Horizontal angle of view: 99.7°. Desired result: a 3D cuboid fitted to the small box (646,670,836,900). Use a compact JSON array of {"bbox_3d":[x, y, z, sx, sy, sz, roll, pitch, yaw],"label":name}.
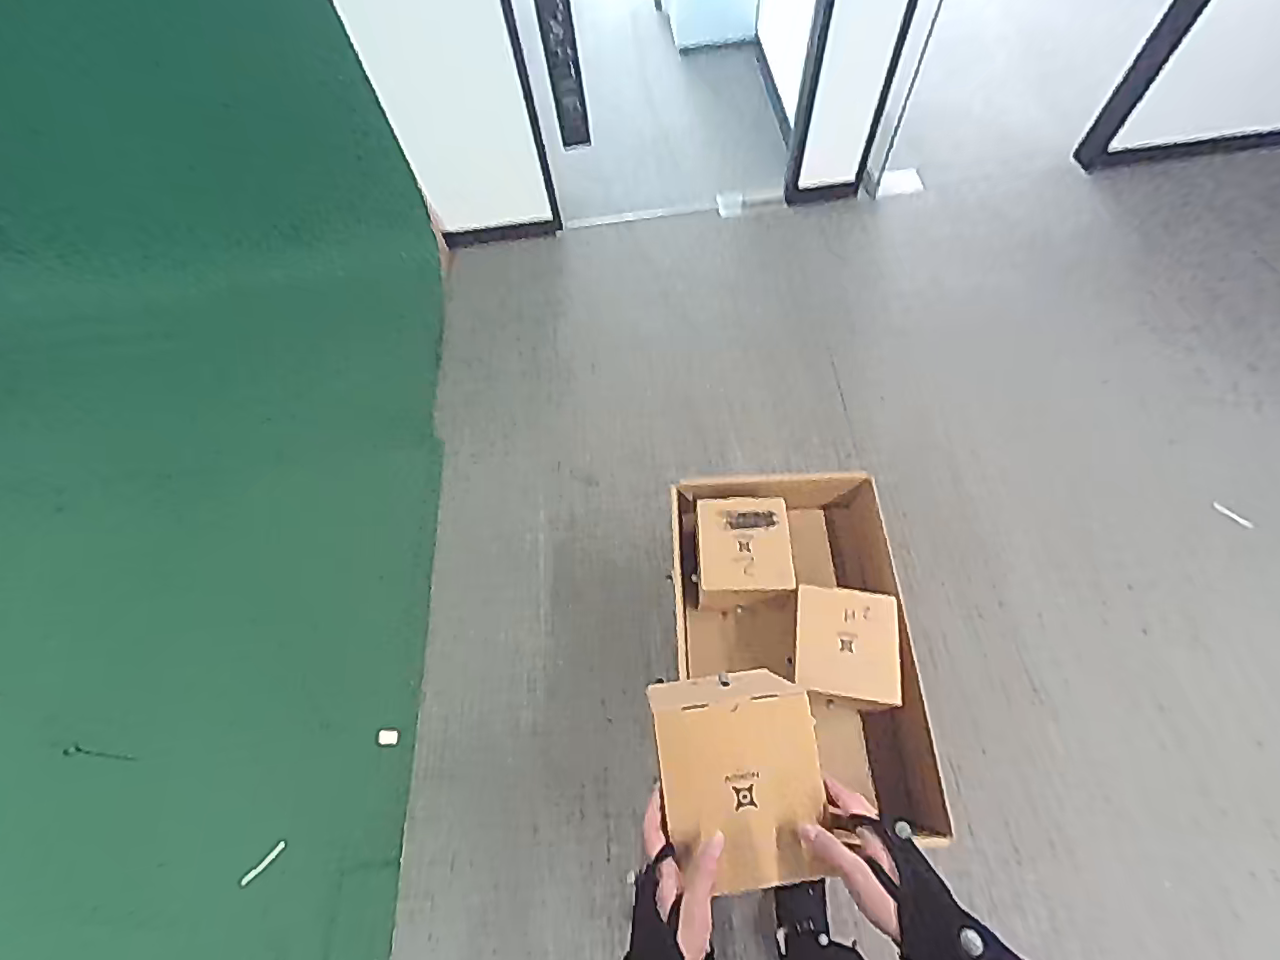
[{"bbox_3d":[0.099,0.325,0.613,0.168,0.176,0.179,-8,77,-3],"label":"small box"}]
